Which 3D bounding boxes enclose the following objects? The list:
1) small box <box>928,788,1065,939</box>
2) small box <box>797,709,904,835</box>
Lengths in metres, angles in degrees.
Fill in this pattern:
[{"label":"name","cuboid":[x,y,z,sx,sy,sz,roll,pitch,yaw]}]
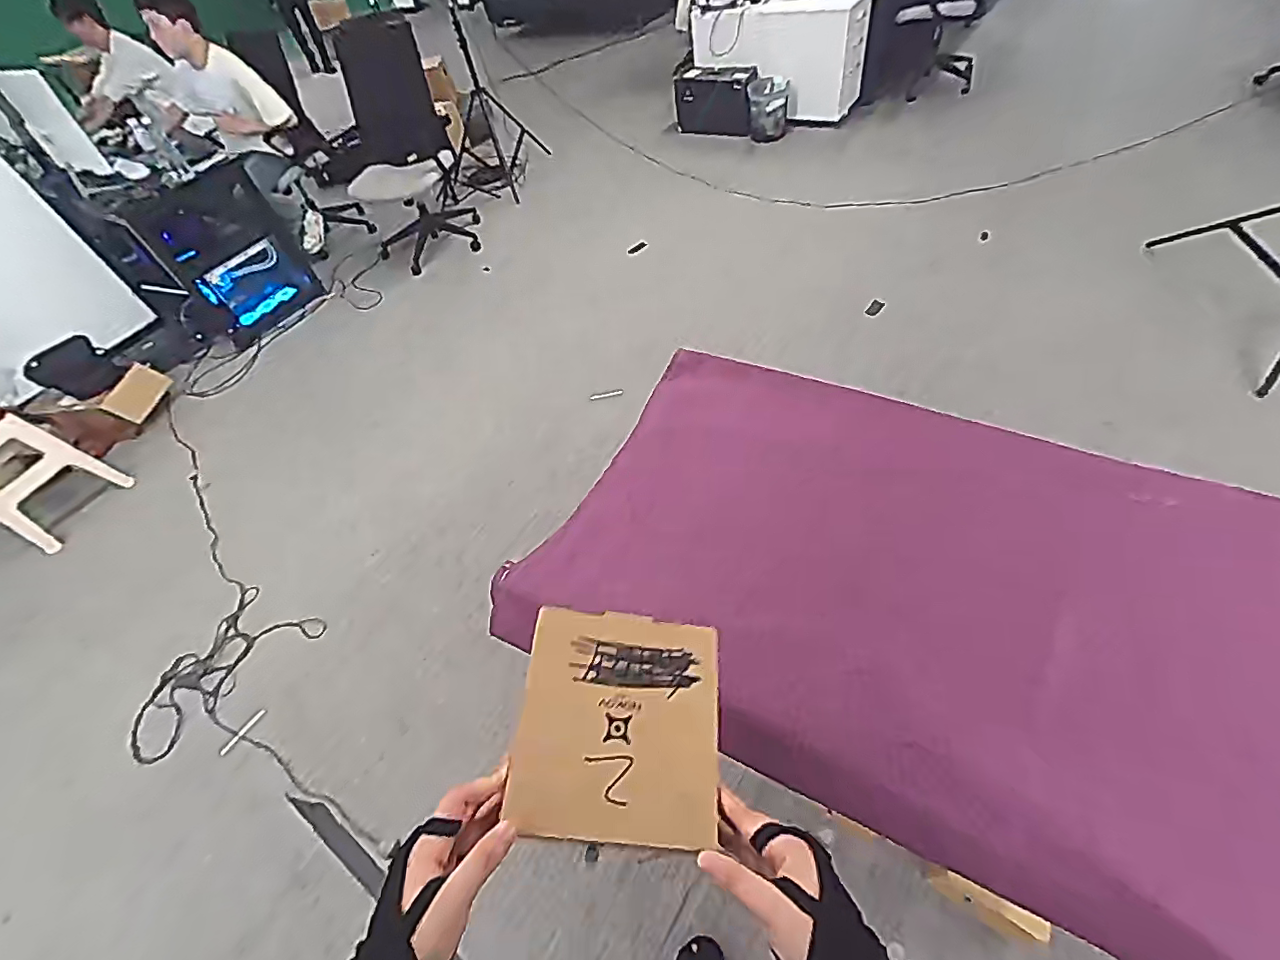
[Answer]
[{"label":"small box","cuboid":[0.696,0.759,1.073,0.168,0.176,0.179,25,60,28]},{"label":"small box","cuboid":[0.459,0.652,1.201,0.168,0.176,0.179,23,59,26]}]
